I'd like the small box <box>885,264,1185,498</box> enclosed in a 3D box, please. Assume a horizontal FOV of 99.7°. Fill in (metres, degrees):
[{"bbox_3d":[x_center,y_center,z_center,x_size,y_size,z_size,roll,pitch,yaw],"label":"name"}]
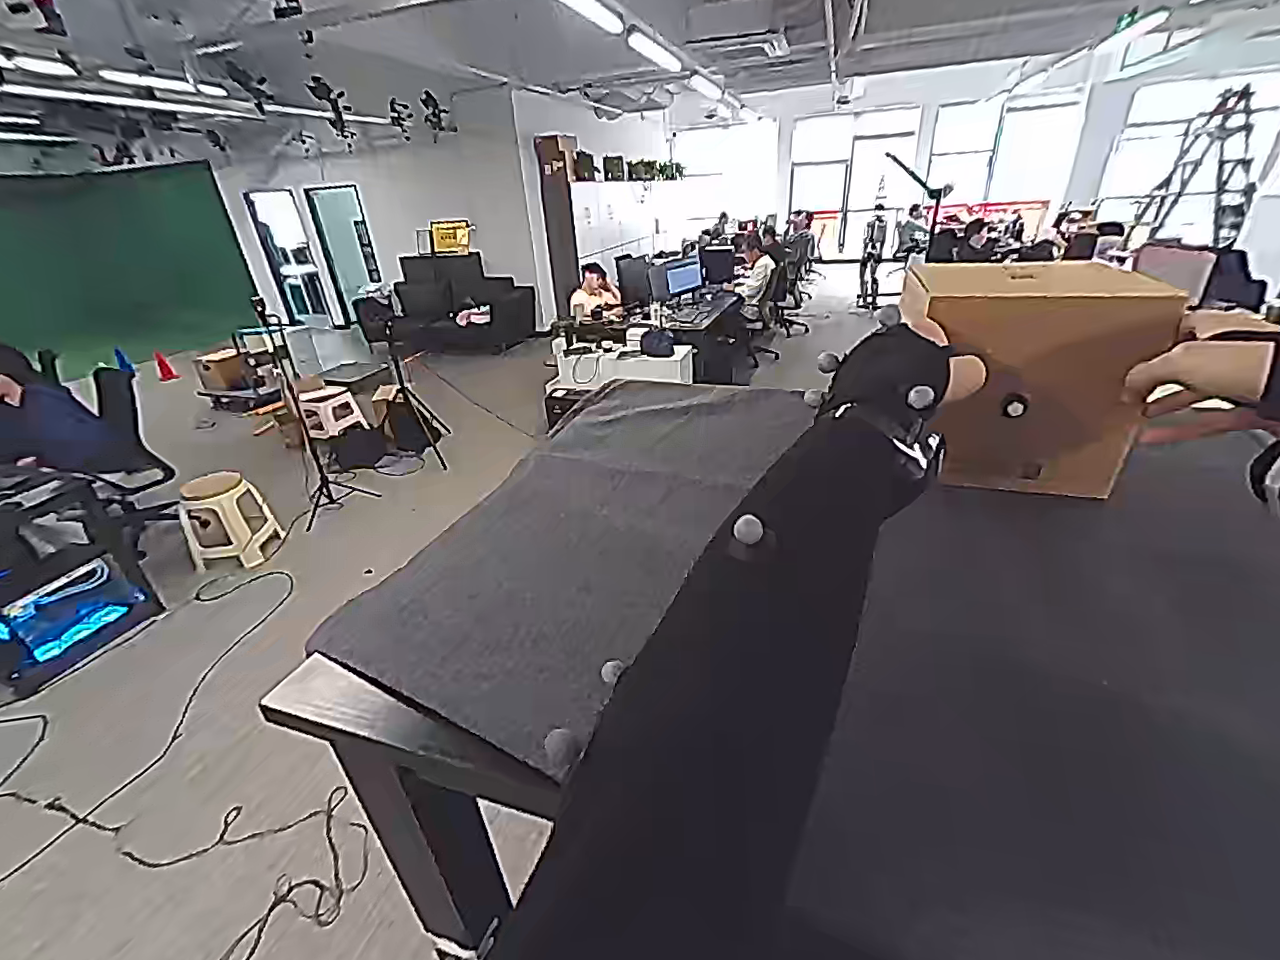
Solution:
[{"bbox_3d":[0.333,-0.098,0.503,0.168,0.176,0.179,6,30,17],"label":"small box"}]
